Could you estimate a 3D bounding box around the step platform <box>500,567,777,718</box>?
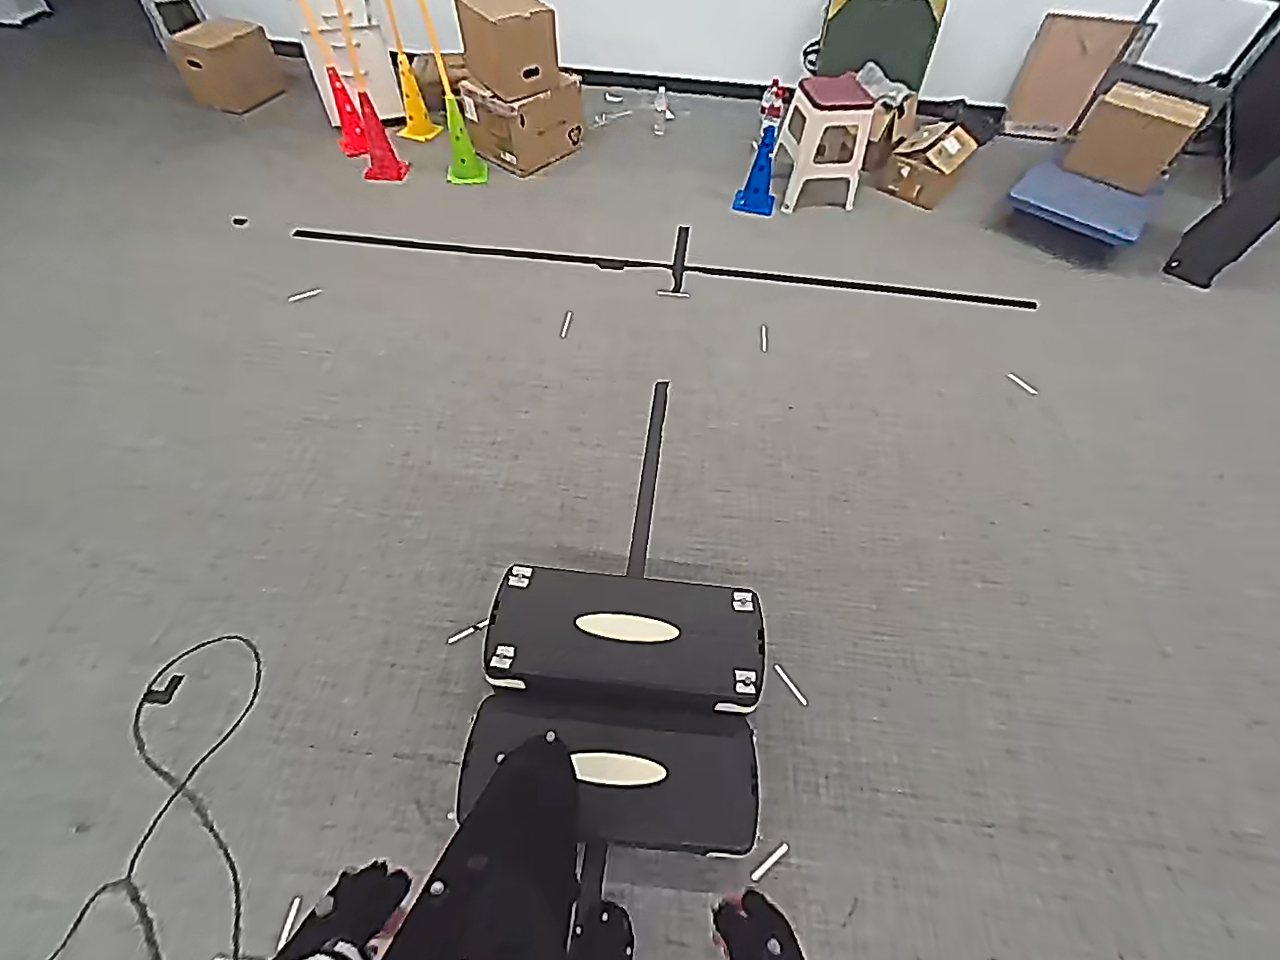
[{"bbox_3d":[-0.002,0.410,1.379,0.684,0.204,0.286,6,55,0],"label":"step platform"}]
